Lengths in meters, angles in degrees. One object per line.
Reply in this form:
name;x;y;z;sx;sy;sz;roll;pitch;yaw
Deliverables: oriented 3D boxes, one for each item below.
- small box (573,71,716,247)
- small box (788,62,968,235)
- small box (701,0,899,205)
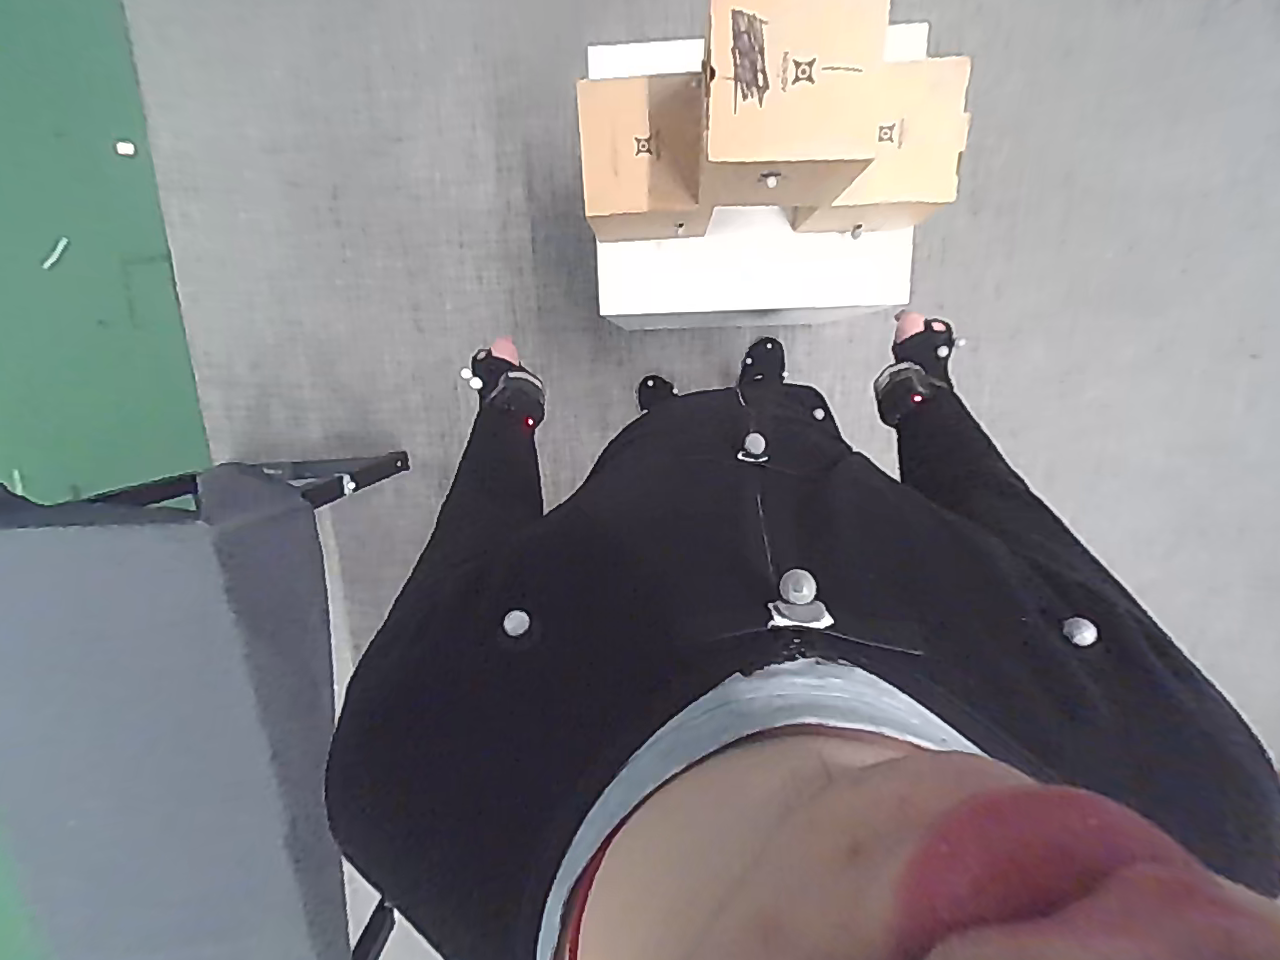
small box;0.006;-0.438;0.765;0.179;0.176;0.168;-4;101;1
small box;0.319;-0.450;0.759;0.179;0.176;0.168;-1;102;2
small box;0.160;-0.416;0.600;0.179;0.176;0.168;-1;102;1
